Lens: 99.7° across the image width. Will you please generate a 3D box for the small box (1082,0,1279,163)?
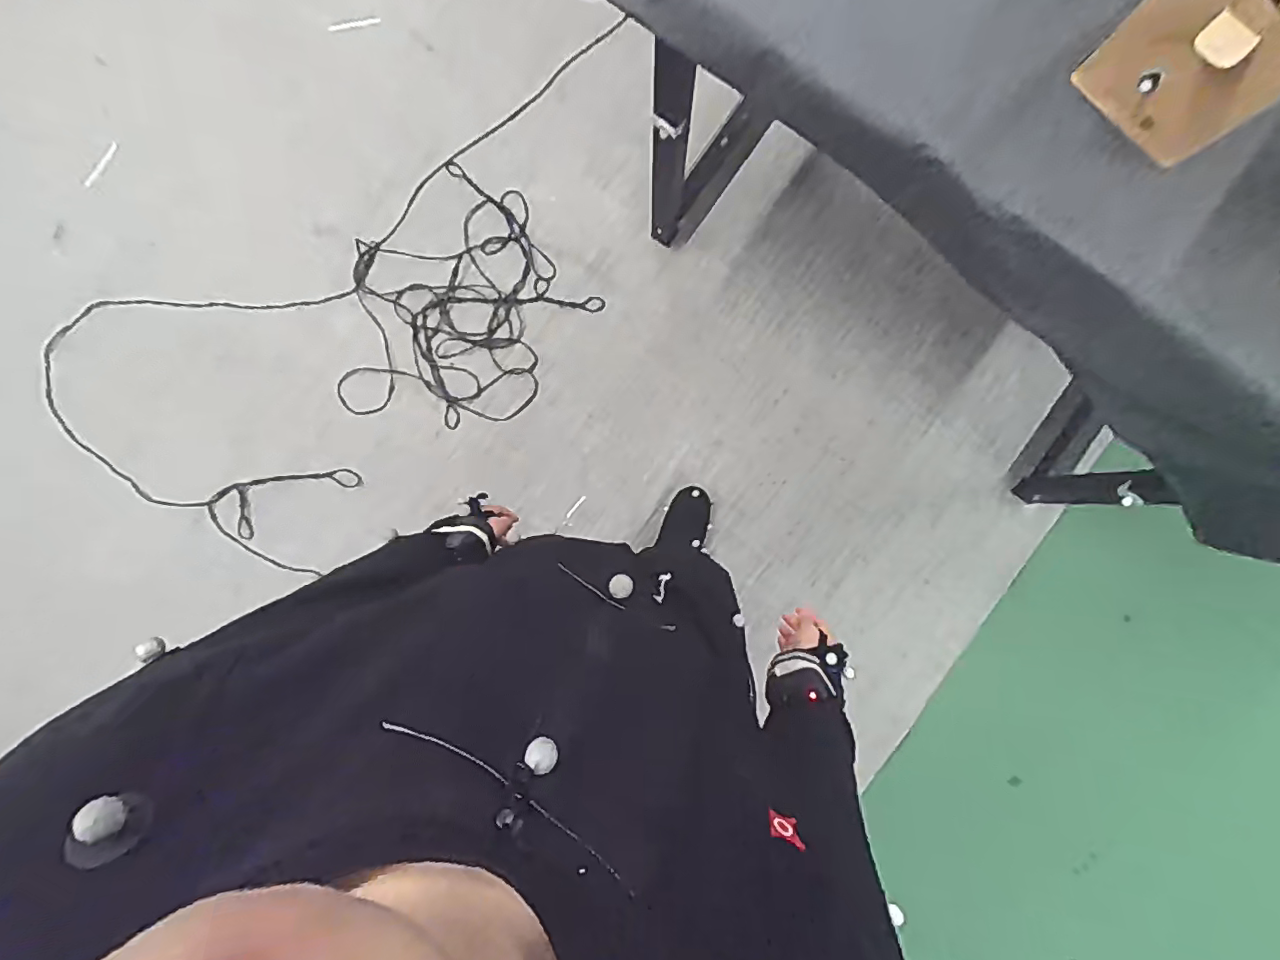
[{"bbox_3d":[0.632,-0.488,0.565,0.179,0.176,0.168,-44,89,-1],"label":"small box"}]
